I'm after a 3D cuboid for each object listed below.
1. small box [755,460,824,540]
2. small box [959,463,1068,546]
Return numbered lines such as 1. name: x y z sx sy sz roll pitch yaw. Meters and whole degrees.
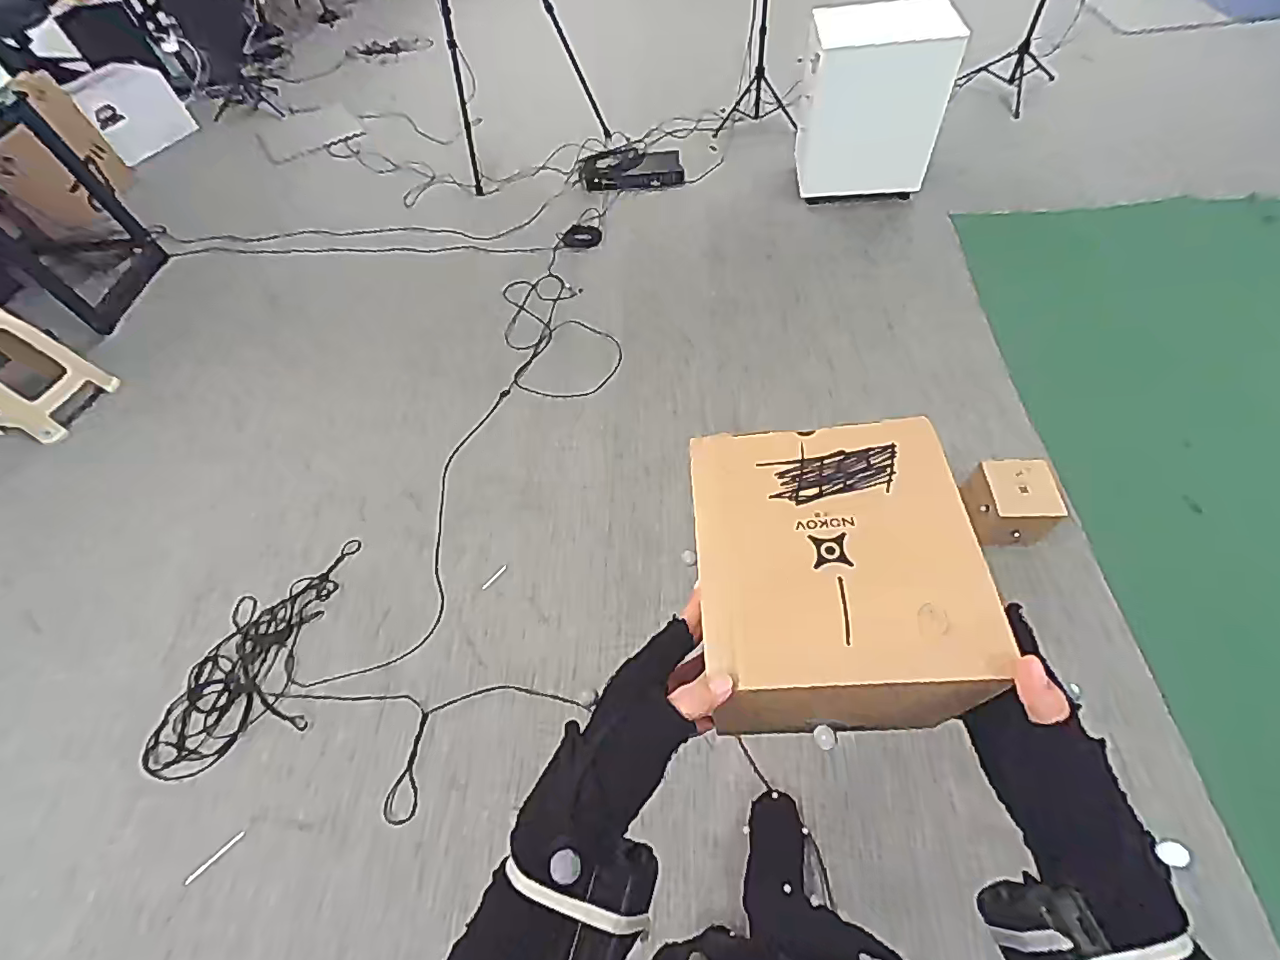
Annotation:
1. small box: 0.421 0.063 1.548 0.168 0.176 0.179 -1 56 6
2. small box: 1.006 0.071 1.475 0.168 0.176 0.179 0 57 5
